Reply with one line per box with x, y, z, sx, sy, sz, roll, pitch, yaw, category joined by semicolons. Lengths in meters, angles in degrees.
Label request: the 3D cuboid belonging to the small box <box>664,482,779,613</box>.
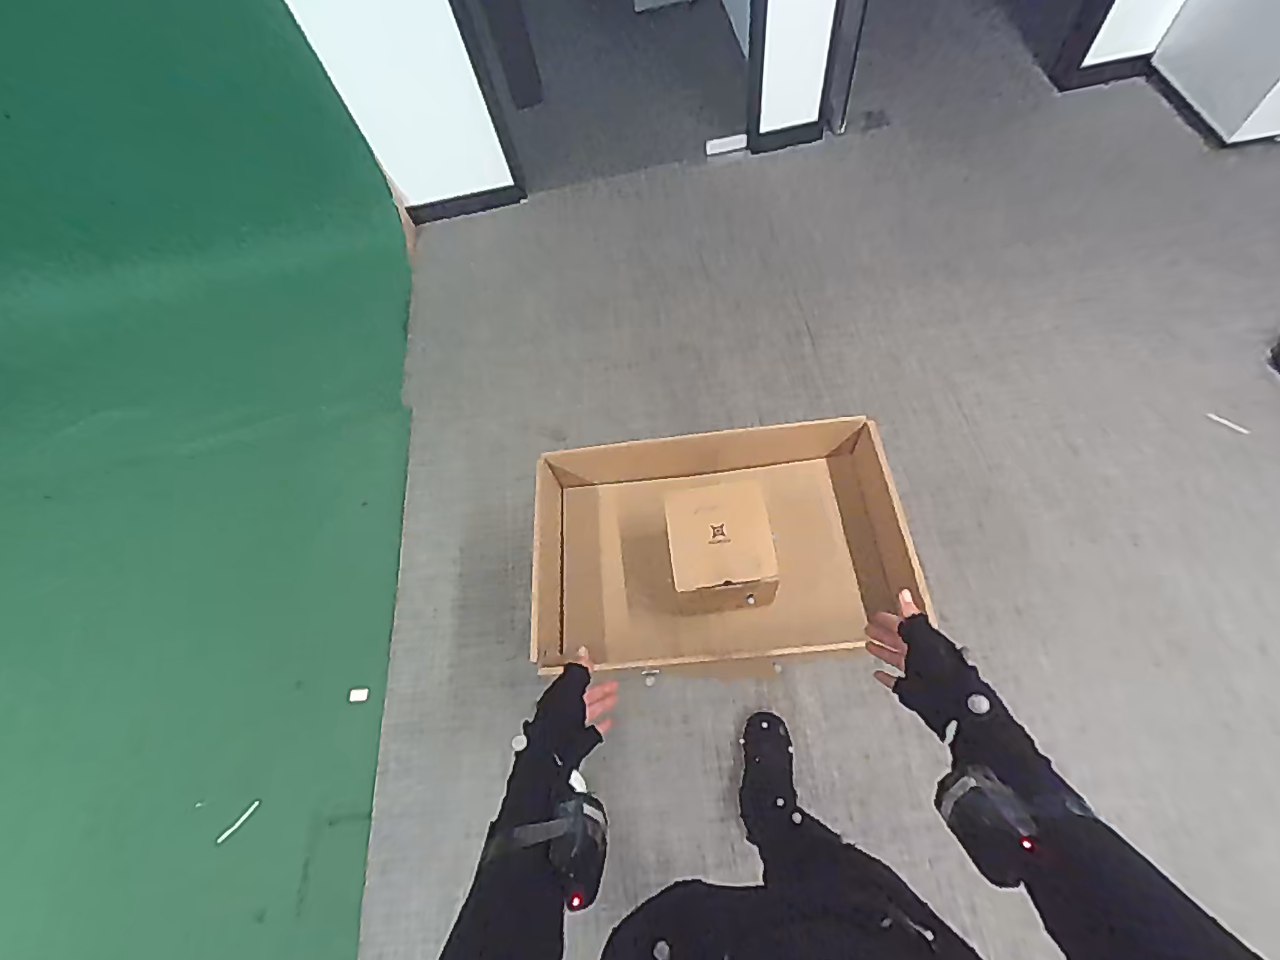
0.138;0.126;0.947;0.168;0.176;0.179;-8;61;3;small box
